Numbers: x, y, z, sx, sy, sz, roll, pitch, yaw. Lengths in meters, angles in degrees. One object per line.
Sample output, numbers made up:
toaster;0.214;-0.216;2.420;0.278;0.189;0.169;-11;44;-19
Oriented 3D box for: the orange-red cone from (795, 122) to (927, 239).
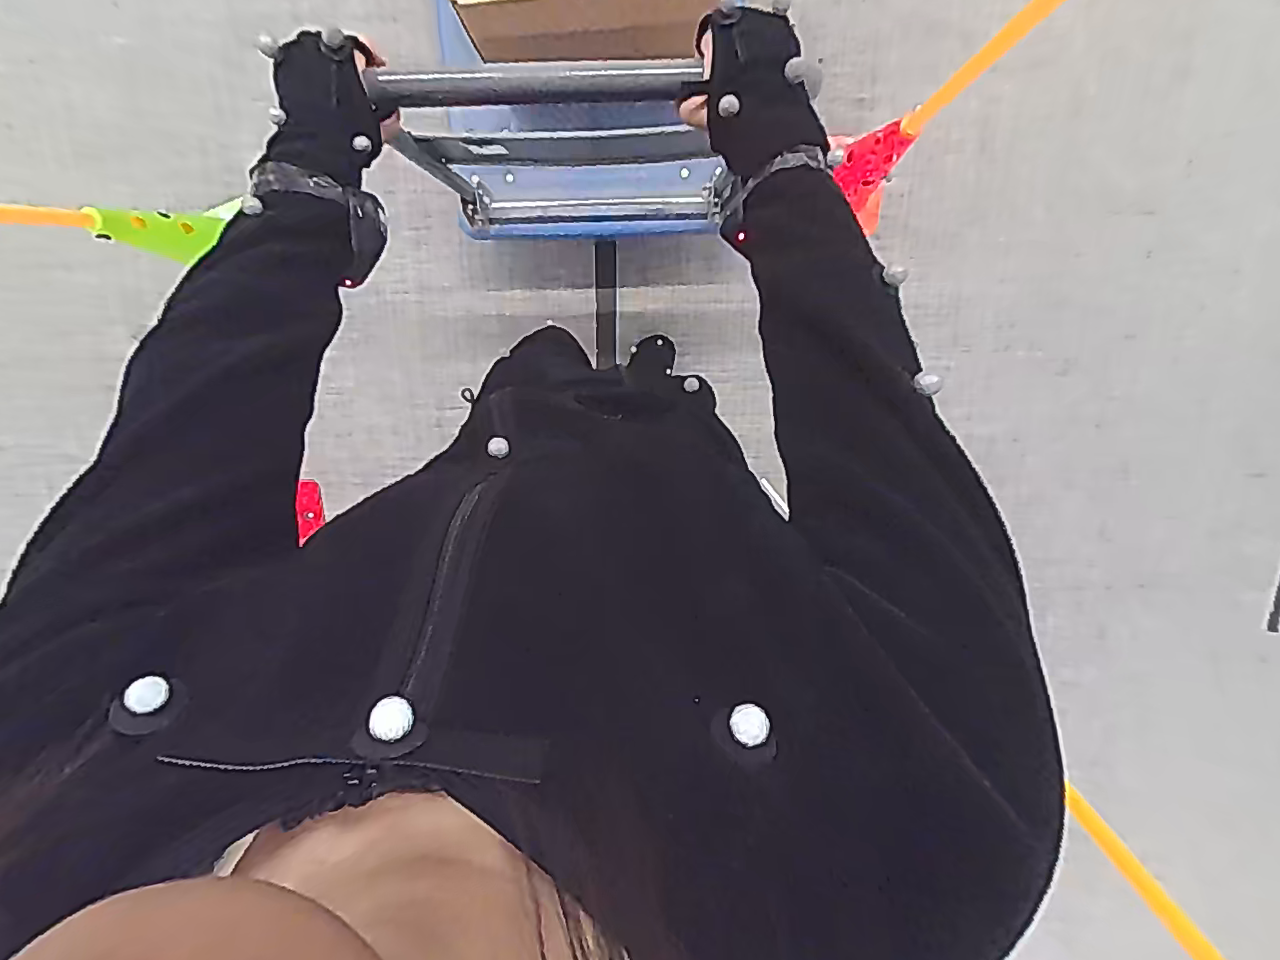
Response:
orange-red cone;0.466;-0.625;1.074;0.199;0.360;0.198;6;105;-2
